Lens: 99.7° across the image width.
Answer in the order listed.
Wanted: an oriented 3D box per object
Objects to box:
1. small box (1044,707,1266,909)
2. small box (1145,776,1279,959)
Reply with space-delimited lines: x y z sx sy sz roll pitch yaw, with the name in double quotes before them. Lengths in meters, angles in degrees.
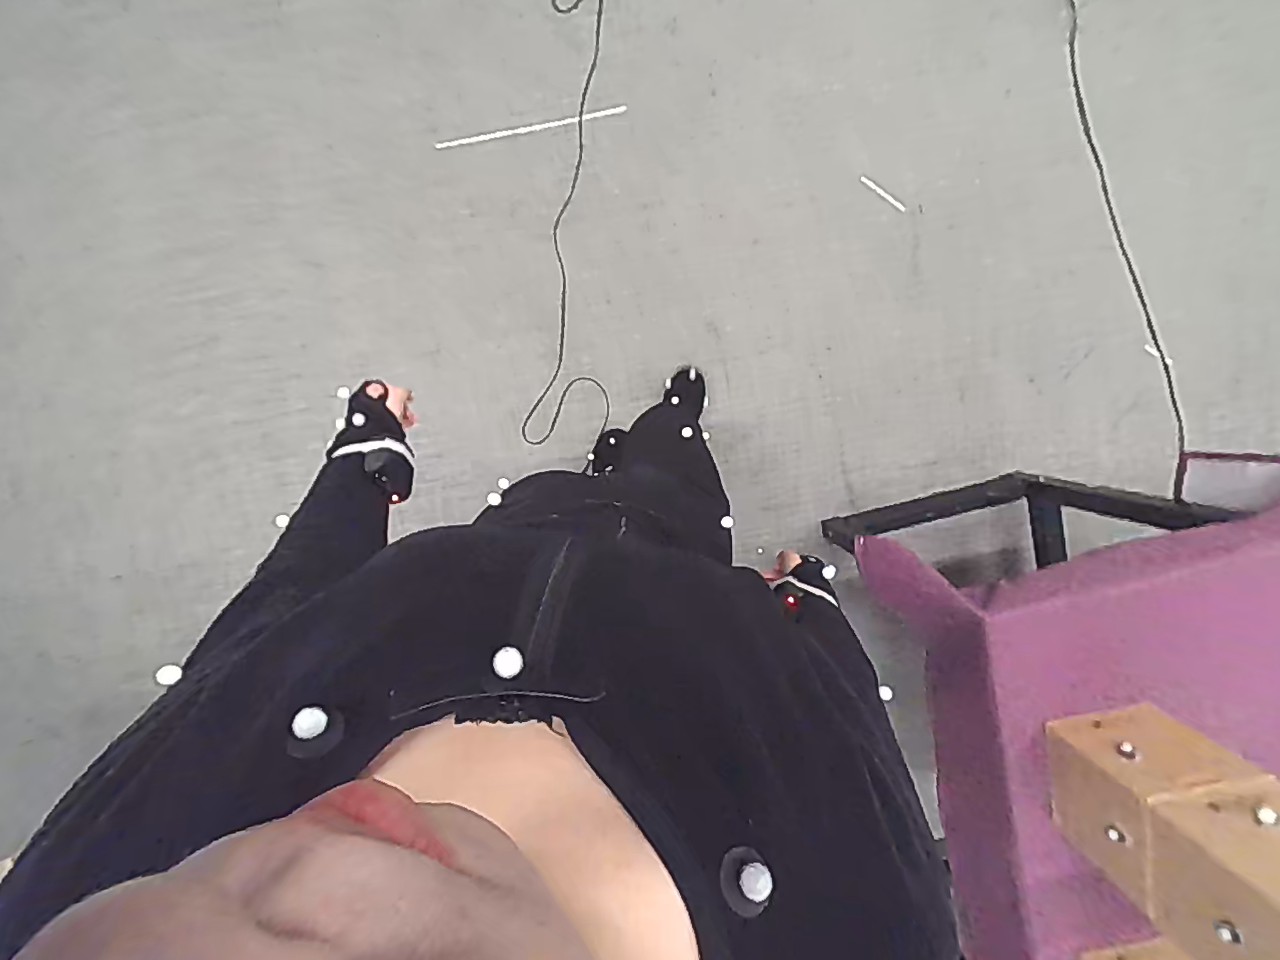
"small box" 0.711 0.445 0.764 0.168 0.176 0.179 -10 99 0
"small box" 0.720 0.473 0.603 0.168 0.176 0.179 -11 98 0
